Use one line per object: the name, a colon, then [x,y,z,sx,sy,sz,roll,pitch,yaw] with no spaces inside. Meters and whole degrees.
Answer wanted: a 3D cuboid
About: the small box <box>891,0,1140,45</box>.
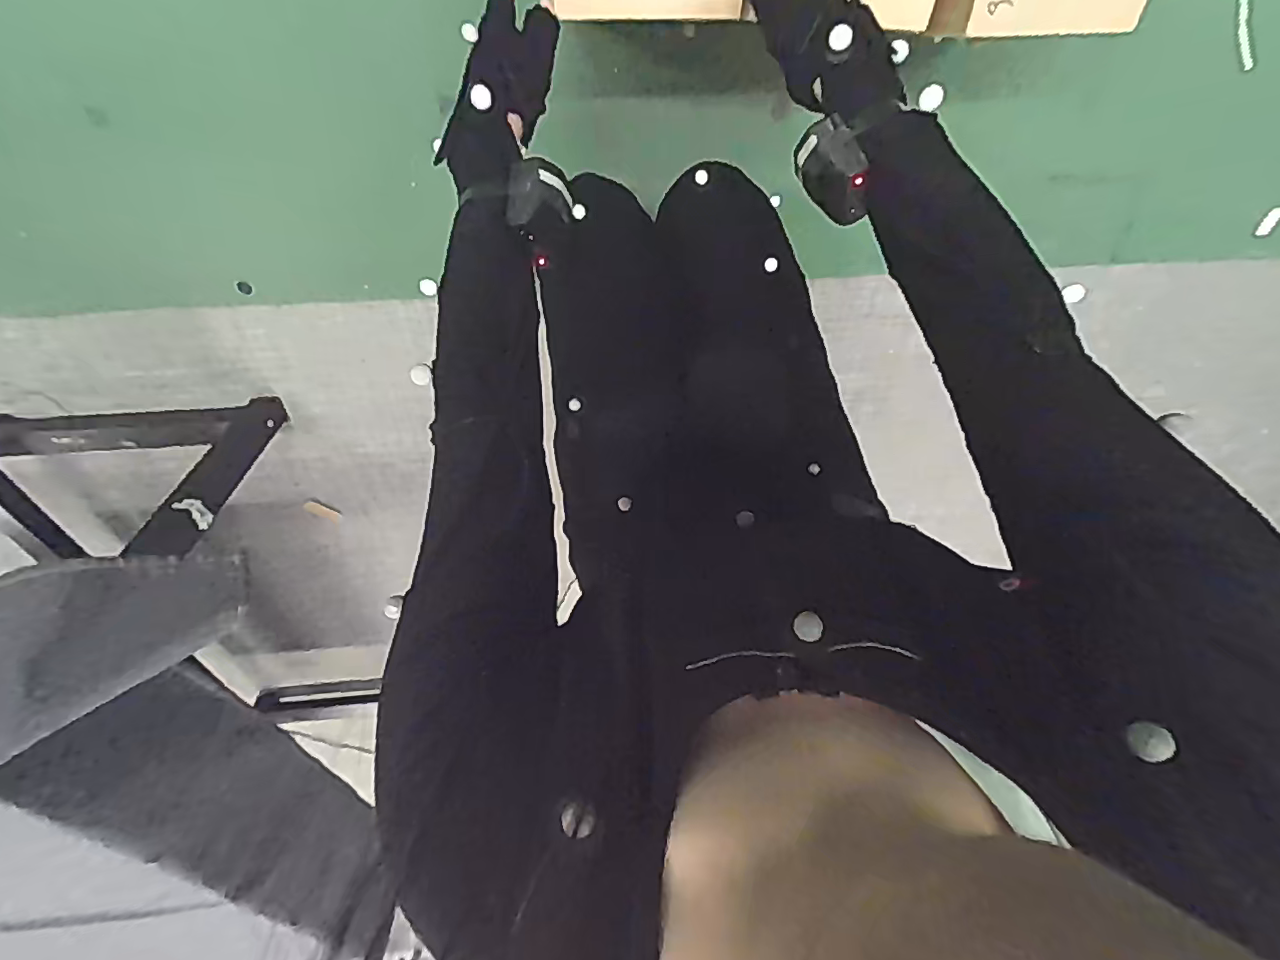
small box: [0.390,-0.547,0.543,0.179,0.176,0.168,-3,131,-3]
